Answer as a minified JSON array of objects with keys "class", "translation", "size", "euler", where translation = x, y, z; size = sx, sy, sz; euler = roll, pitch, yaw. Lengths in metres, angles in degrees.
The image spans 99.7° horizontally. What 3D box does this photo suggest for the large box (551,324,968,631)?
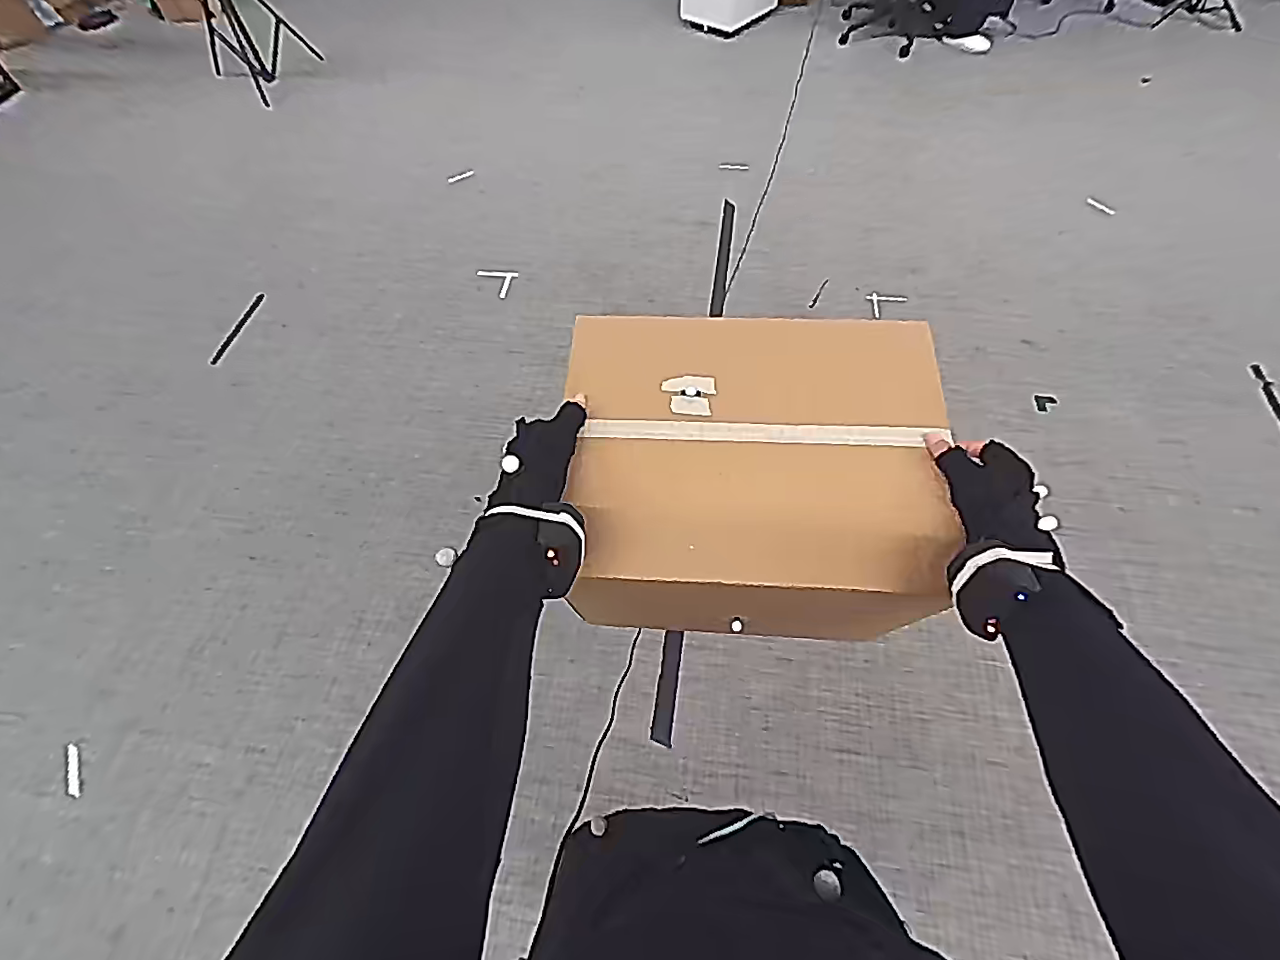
[{"class":"large box","translation":[0.129,0.016,0.712],"size":[0.408,0.320,0.320],"euler":[2,65,6]}]
